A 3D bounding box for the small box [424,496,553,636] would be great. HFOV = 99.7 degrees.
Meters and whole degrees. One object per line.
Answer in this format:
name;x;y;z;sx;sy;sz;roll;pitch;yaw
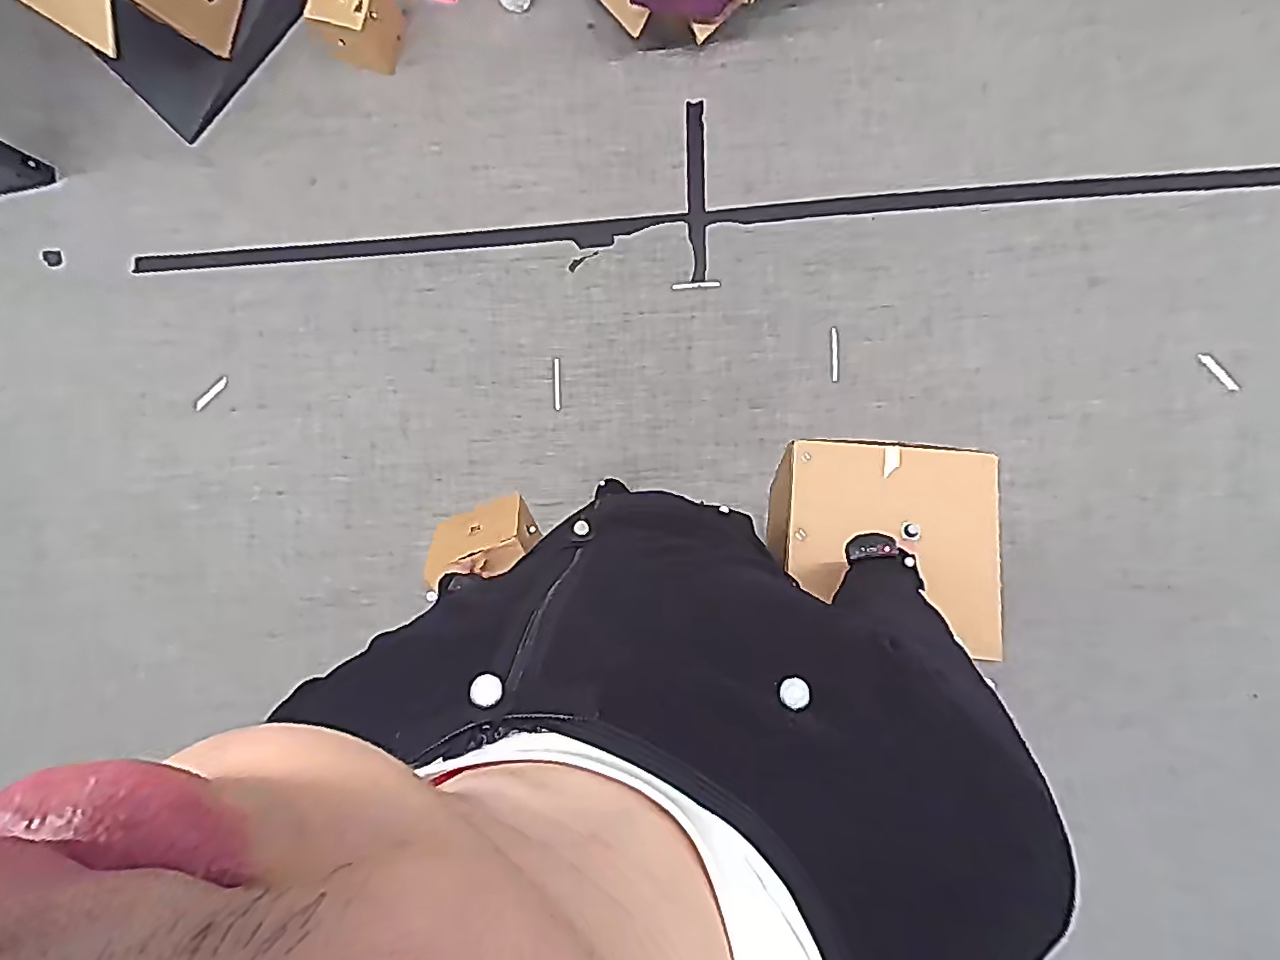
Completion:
small box;-0.266;0.162;0.994;0.168;0.179;0.176;-21;115;0
